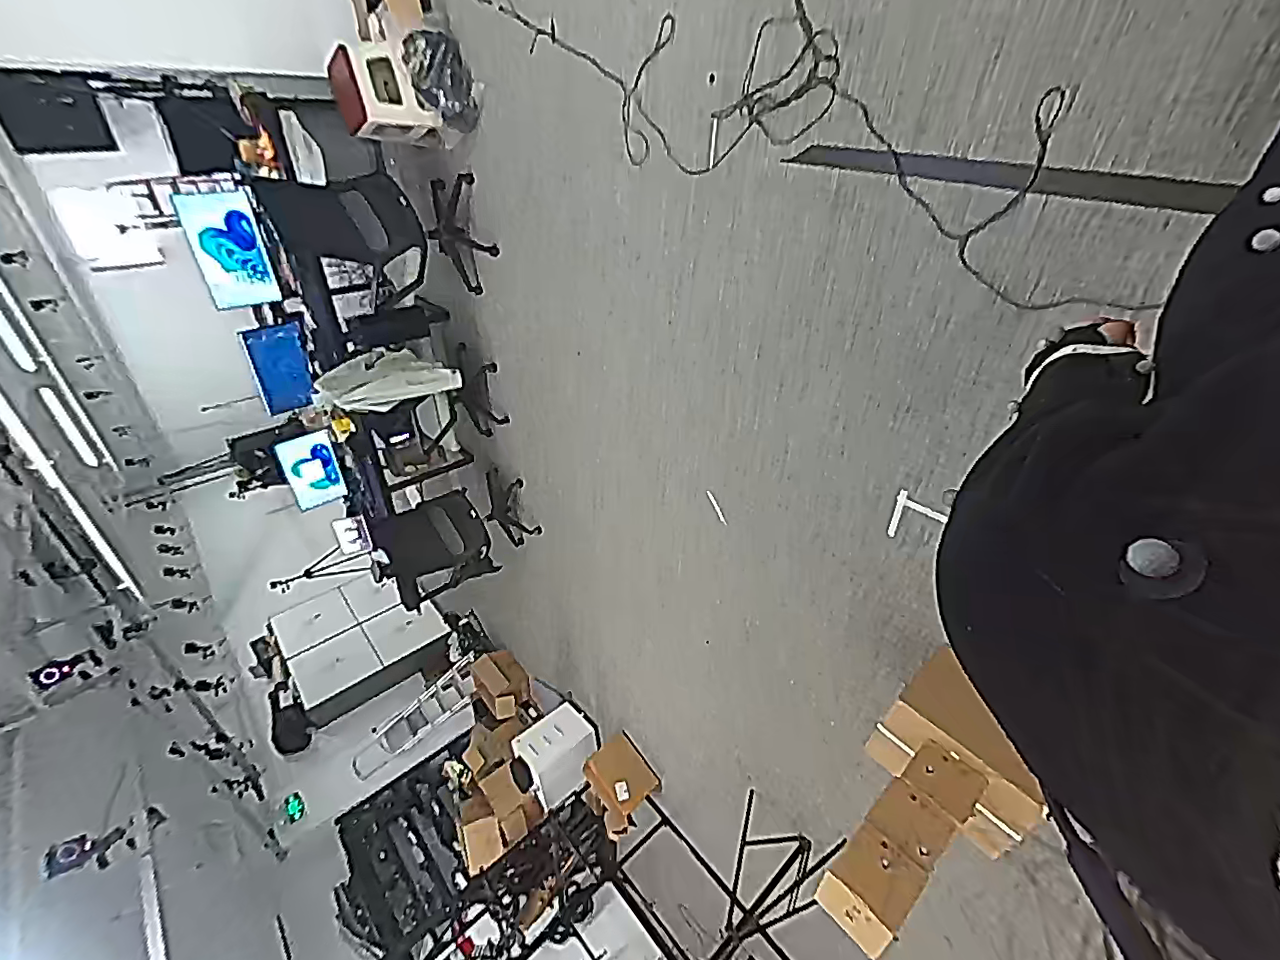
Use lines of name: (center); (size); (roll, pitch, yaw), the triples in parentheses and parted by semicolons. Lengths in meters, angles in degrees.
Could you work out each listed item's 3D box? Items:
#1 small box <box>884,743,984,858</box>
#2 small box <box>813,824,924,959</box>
small box: (0.796, 0.857, 1.461); (0.168, 0.176, 0.179); (31, 135, 40)
small box: (0.543, 0.974, 1.286); (0.168, 0.176, 0.179); (33, 135, 38)
